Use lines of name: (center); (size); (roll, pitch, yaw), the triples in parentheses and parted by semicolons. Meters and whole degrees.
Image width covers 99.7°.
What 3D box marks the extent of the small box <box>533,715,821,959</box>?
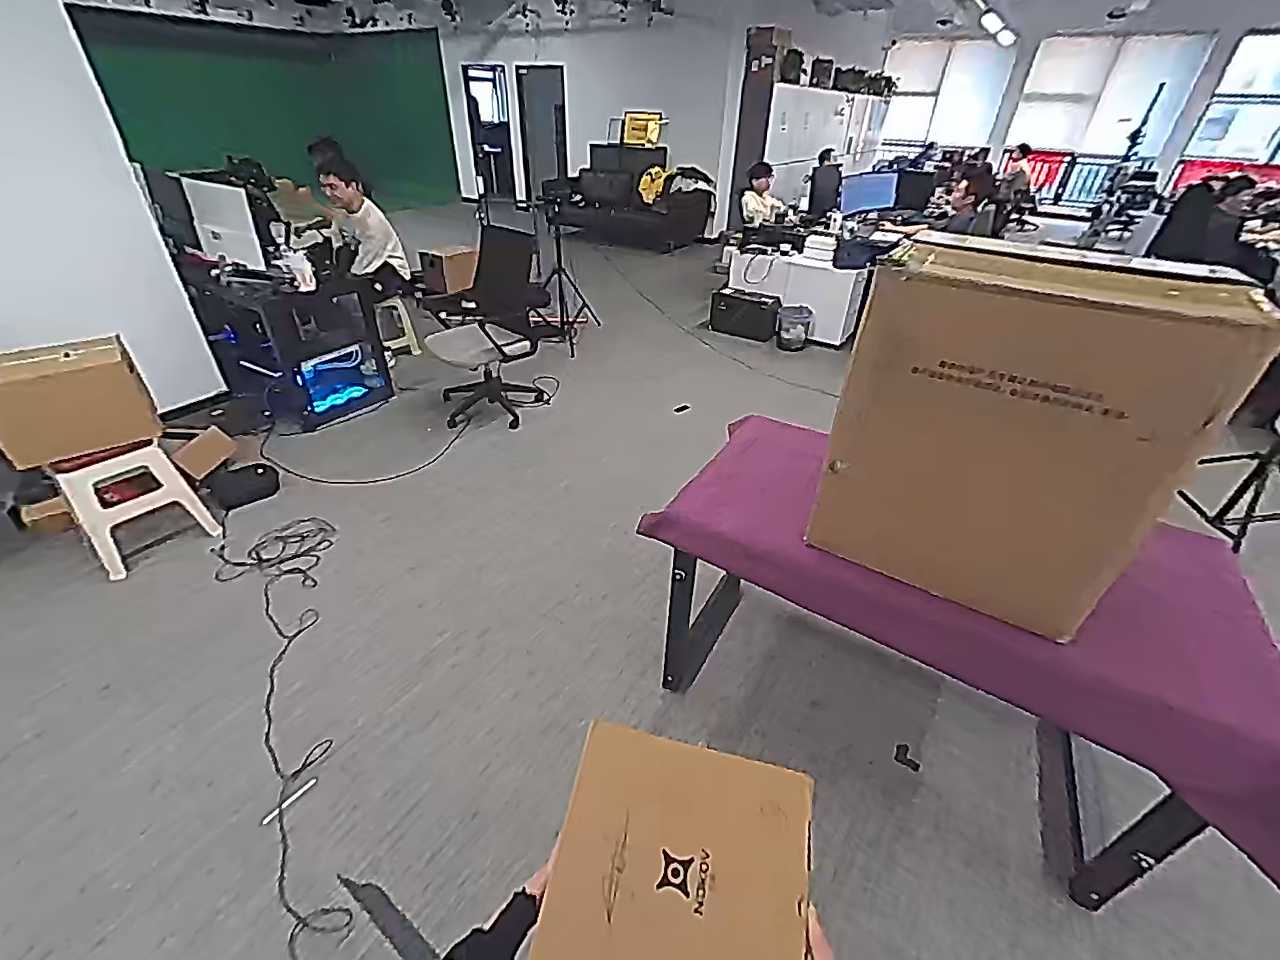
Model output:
small box: (0.031, 0.310, 0.426); (0.179, 0.176, 0.168); (10, 51, 7)
